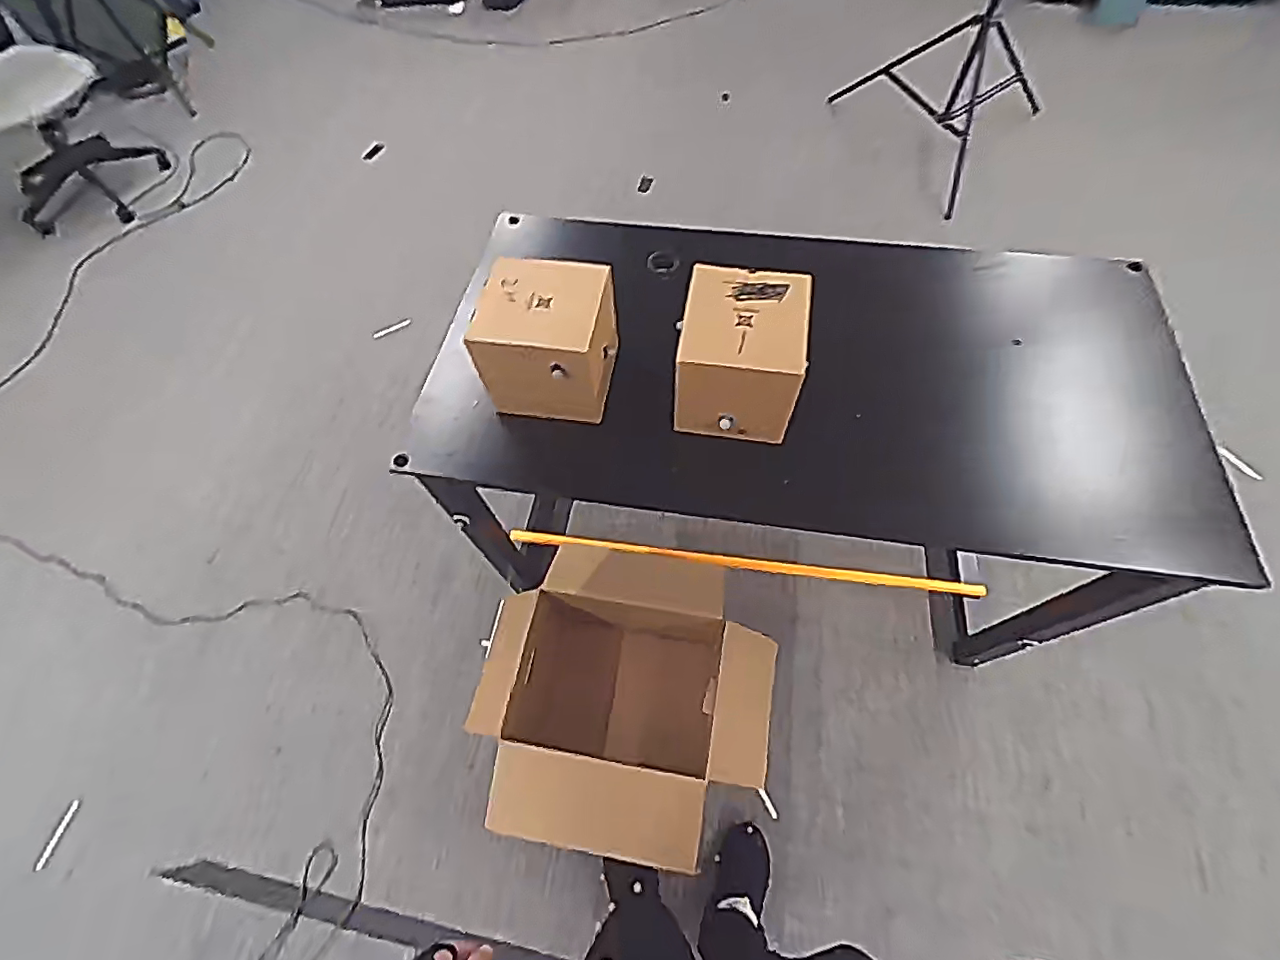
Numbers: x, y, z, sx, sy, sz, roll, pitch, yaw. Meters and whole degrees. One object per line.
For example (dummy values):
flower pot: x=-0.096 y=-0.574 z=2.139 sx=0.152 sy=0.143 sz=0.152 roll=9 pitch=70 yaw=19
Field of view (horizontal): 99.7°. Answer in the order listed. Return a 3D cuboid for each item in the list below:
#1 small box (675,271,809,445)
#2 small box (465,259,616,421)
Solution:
small box: x=0.145 y=-0.177 z=0.801 sx=0.168 sy=0.176 sz=0.179 roll=8 pitch=63 yaw=7
small box: x=-0.137 y=-0.208 z=0.829 sx=0.179 sy=0.176 sz=0.168 roll=7 pitch=62 yaw=6
